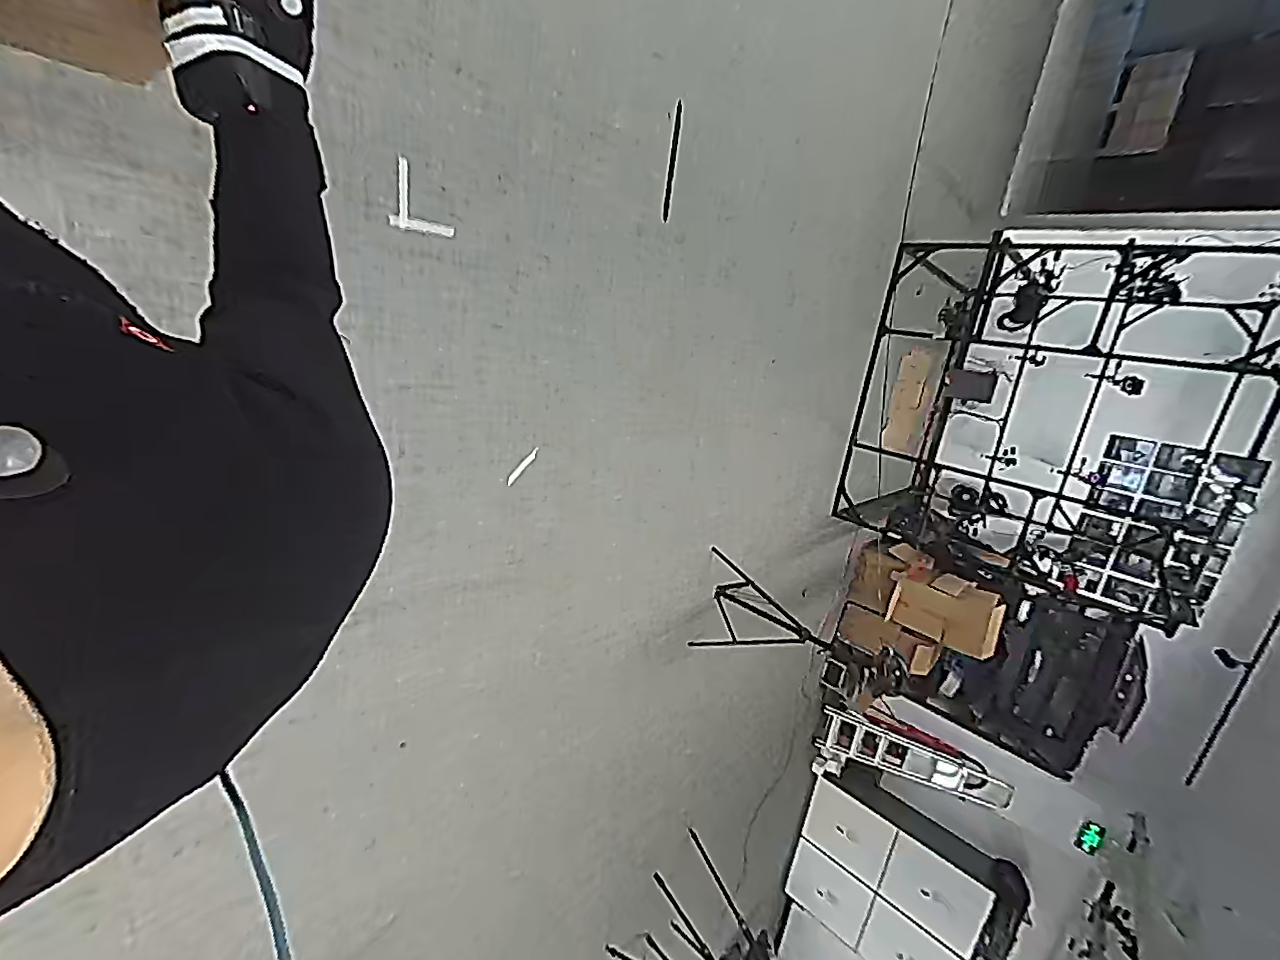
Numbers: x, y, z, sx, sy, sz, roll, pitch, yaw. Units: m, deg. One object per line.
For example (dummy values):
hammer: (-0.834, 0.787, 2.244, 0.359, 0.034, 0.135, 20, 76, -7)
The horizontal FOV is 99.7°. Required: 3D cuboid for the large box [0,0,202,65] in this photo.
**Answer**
large box: (-0.532, -0.499, 0.286, 0.408, 0.320, 0.320, -12, 118, -48)
